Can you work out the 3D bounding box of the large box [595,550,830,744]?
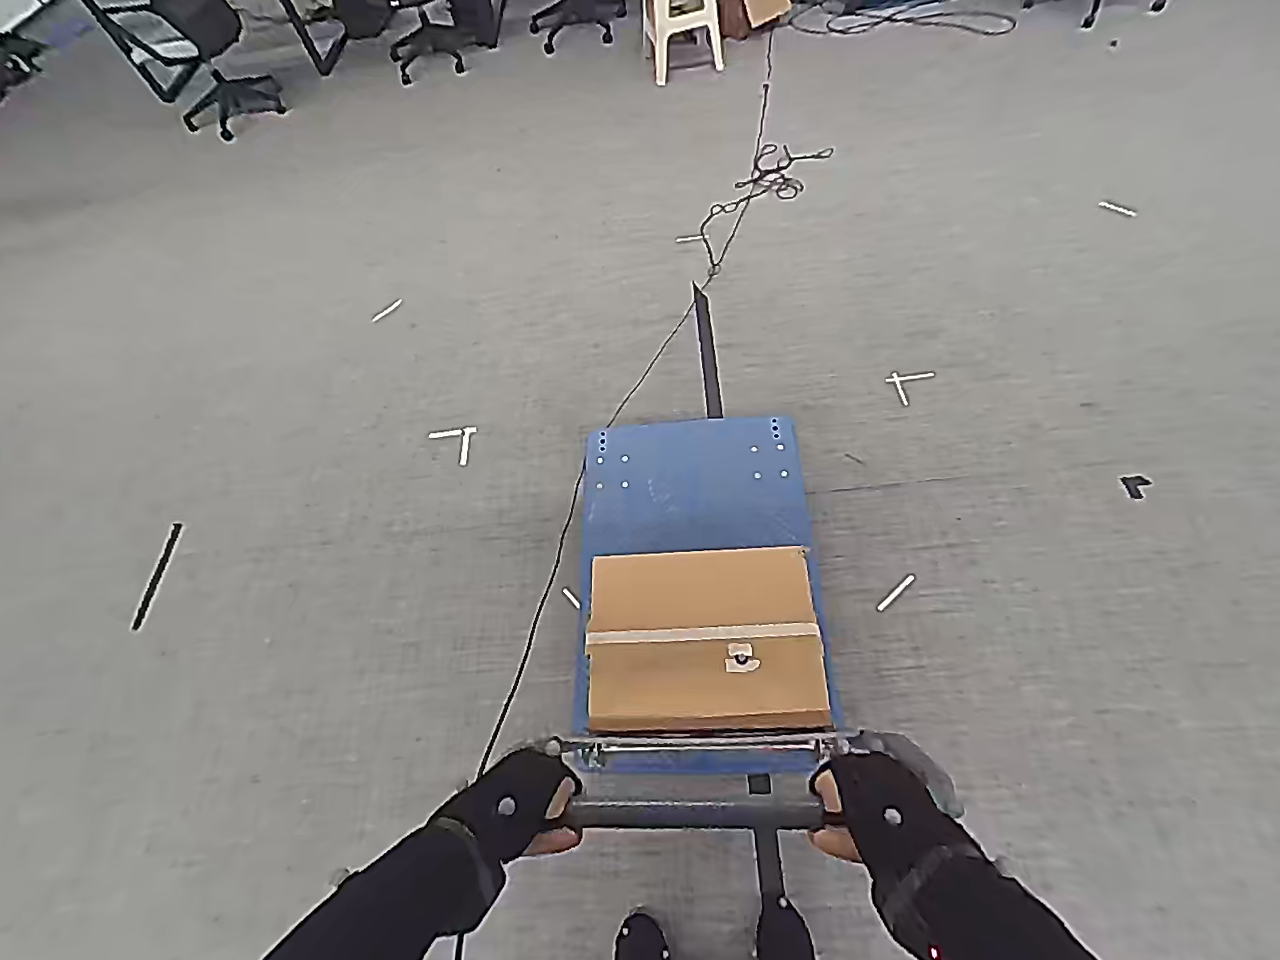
[{"bbox_3d":[0.129,0.356,1.108,0.408,0.320,0.320,-4,63,5],"label":"large box"}]
